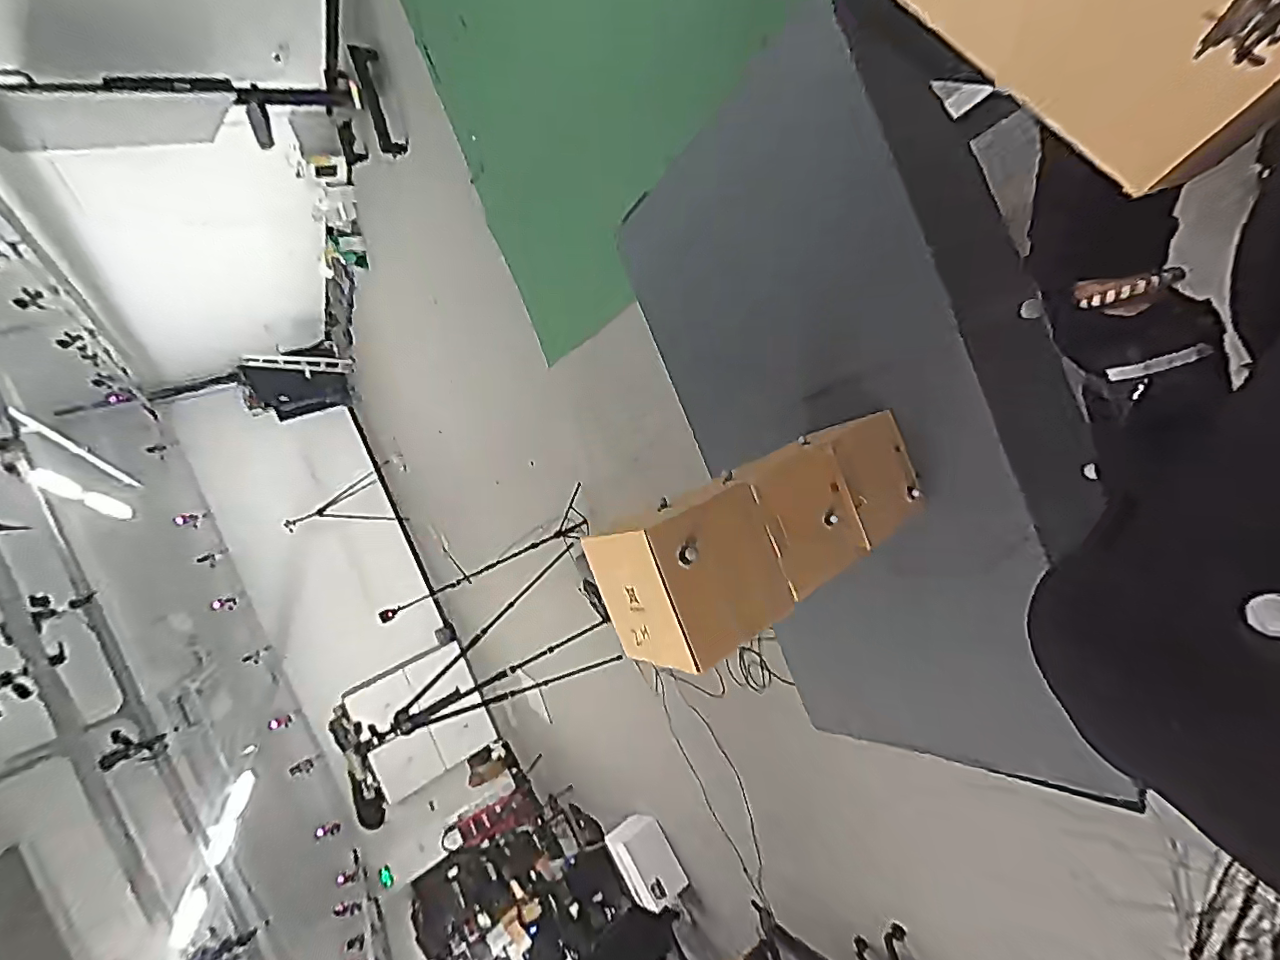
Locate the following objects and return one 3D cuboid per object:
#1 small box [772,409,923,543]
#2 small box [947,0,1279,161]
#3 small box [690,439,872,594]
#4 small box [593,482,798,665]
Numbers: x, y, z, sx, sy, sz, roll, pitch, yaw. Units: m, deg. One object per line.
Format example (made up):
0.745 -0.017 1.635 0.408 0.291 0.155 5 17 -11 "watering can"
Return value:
0.325 0.000 0.877 0.179 0.176 0.168 -20 93 59 "small box"
0.268 -0.276 0.244 0.179 0.176 0.168 55 146 13 "small box"
0.199 0.055 0.792 0.179 0.176 0.168 -19 94 58 "small box"
0.071 0.110 0.703 0.168 0.176 0.179 -17 95 59 "small box"
